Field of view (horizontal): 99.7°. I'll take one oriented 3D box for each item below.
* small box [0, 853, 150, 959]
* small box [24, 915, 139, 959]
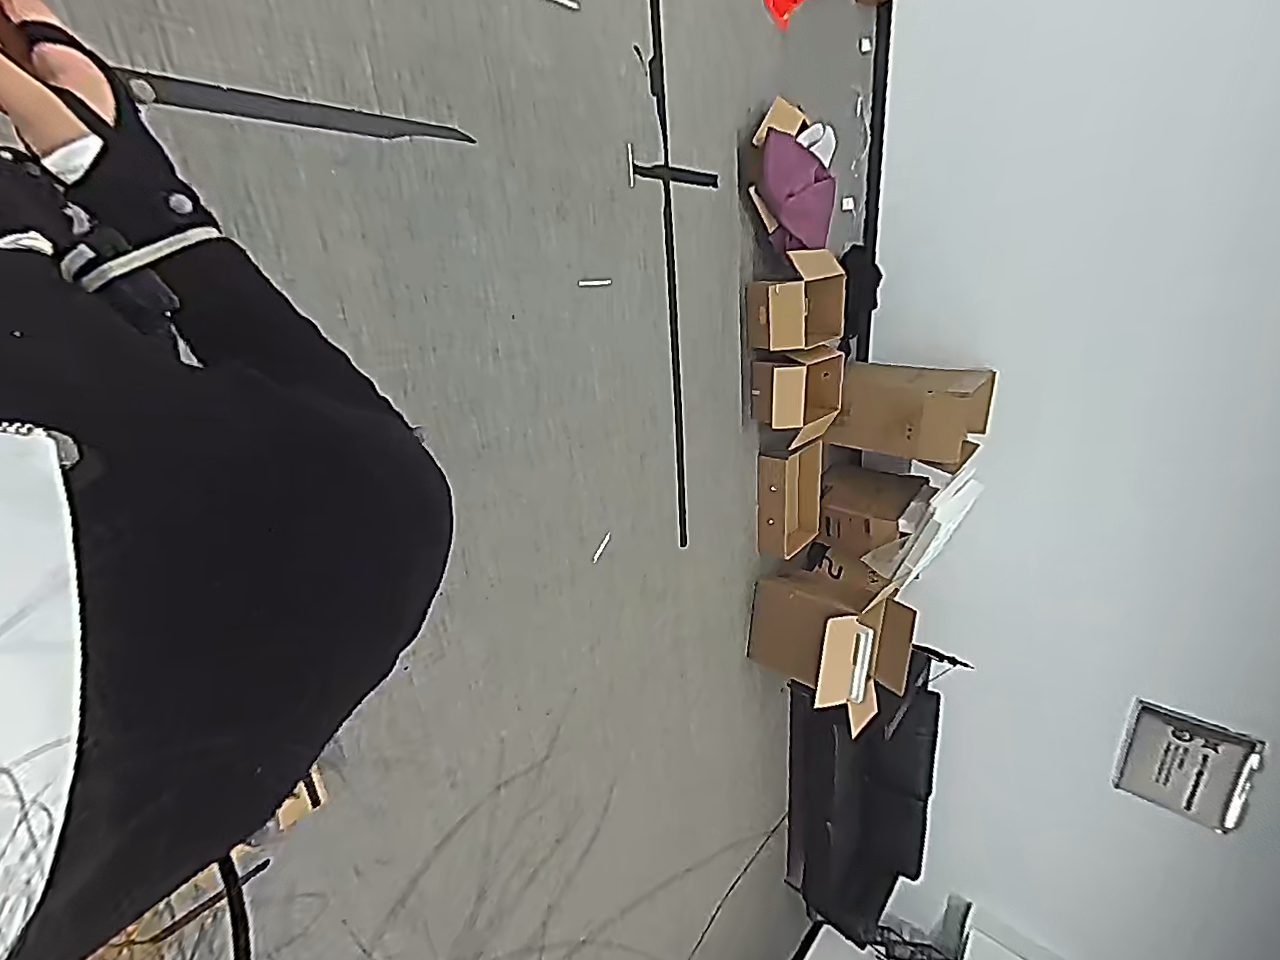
[{"bbox_3d":[-1.095,0.884,1.048,0.168,0.176,0.179,-24,118,-42],"label":"small box"},{"bbox_3d":[-0.982,0.921,0.934,0.168,0.176,0.179,-20,115,-43],"label":"small box"}]
